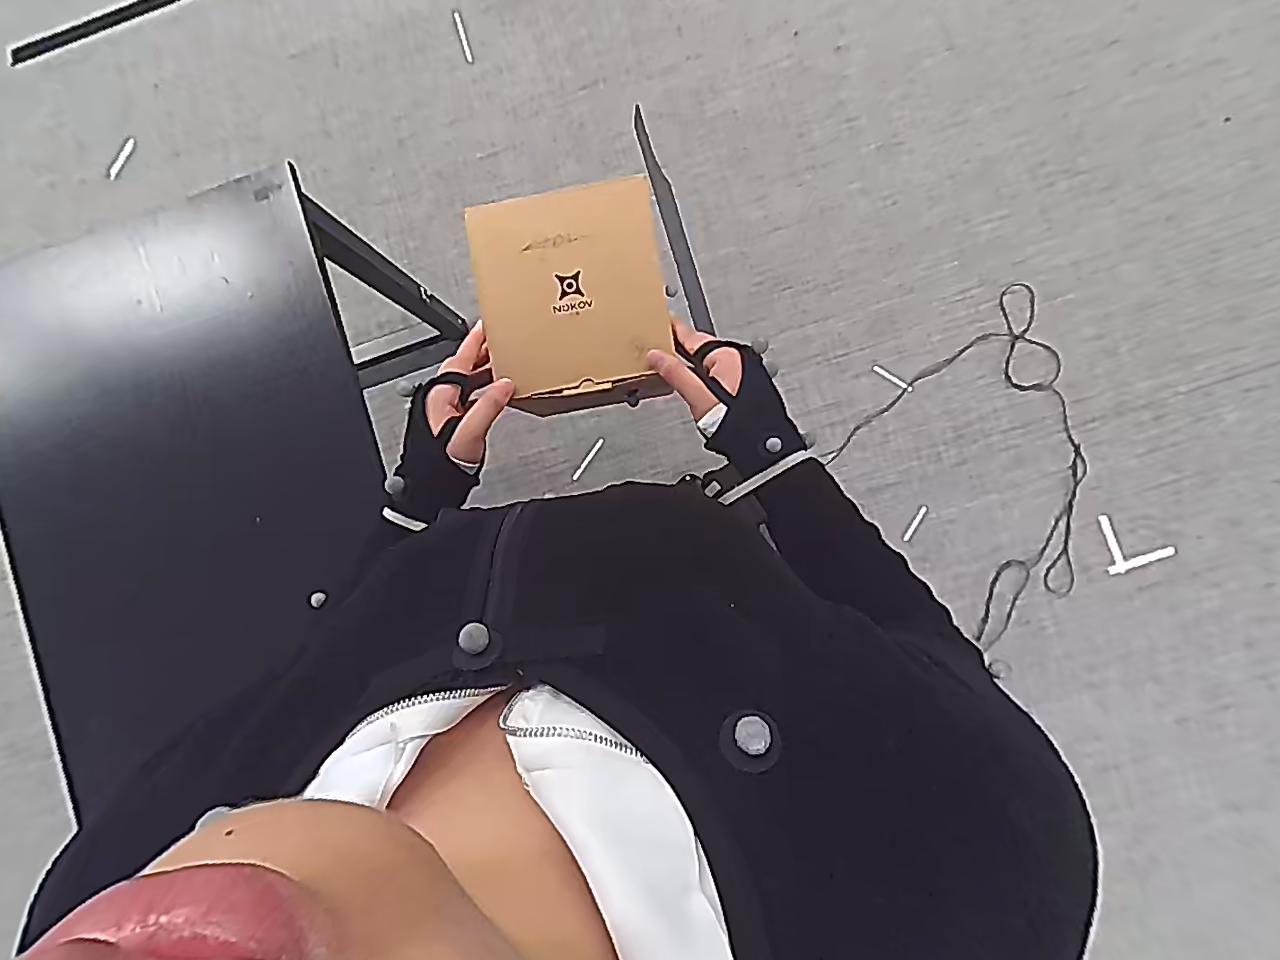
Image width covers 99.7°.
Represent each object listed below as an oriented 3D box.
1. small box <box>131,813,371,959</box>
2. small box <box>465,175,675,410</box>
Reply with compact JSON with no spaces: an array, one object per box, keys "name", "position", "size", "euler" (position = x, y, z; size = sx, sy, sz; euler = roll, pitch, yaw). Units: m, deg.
[{"name":"small box","position":[-0.491,0.574,0.708],"size":[0.168,0.176,0.179],"euler":[-19,87,3]},{"name":"small box","position":[-0.058,-0.172,0.556],"size":[0.168,0.176,0.179],"euler":[-10,92,2]}]
